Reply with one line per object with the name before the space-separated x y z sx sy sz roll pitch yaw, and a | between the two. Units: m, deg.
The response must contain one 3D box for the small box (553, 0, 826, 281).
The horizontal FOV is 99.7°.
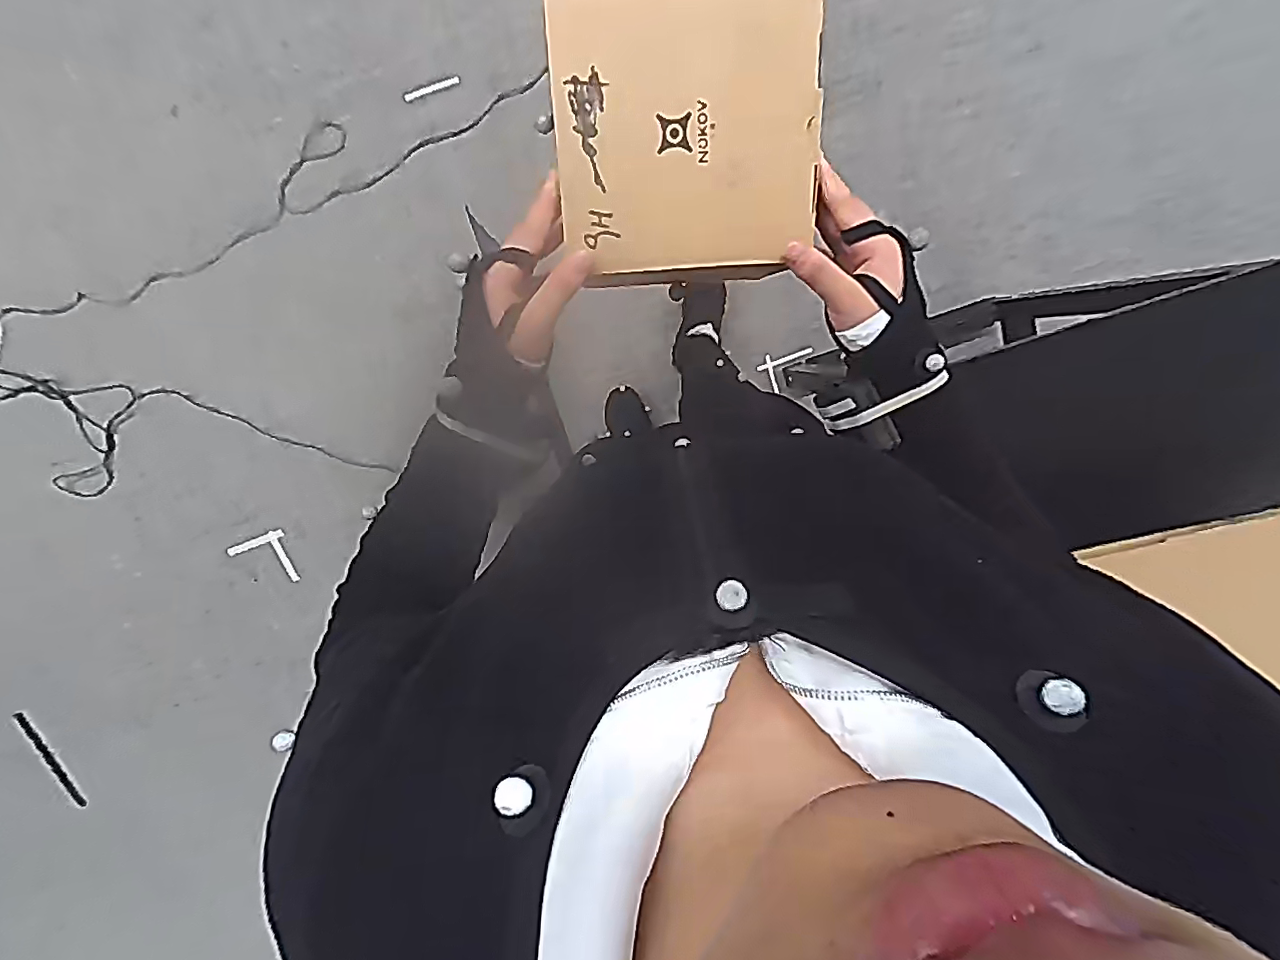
small box | 0.030 -0.257 0.435 0.179 0.176 0.168 -4 105 -2
